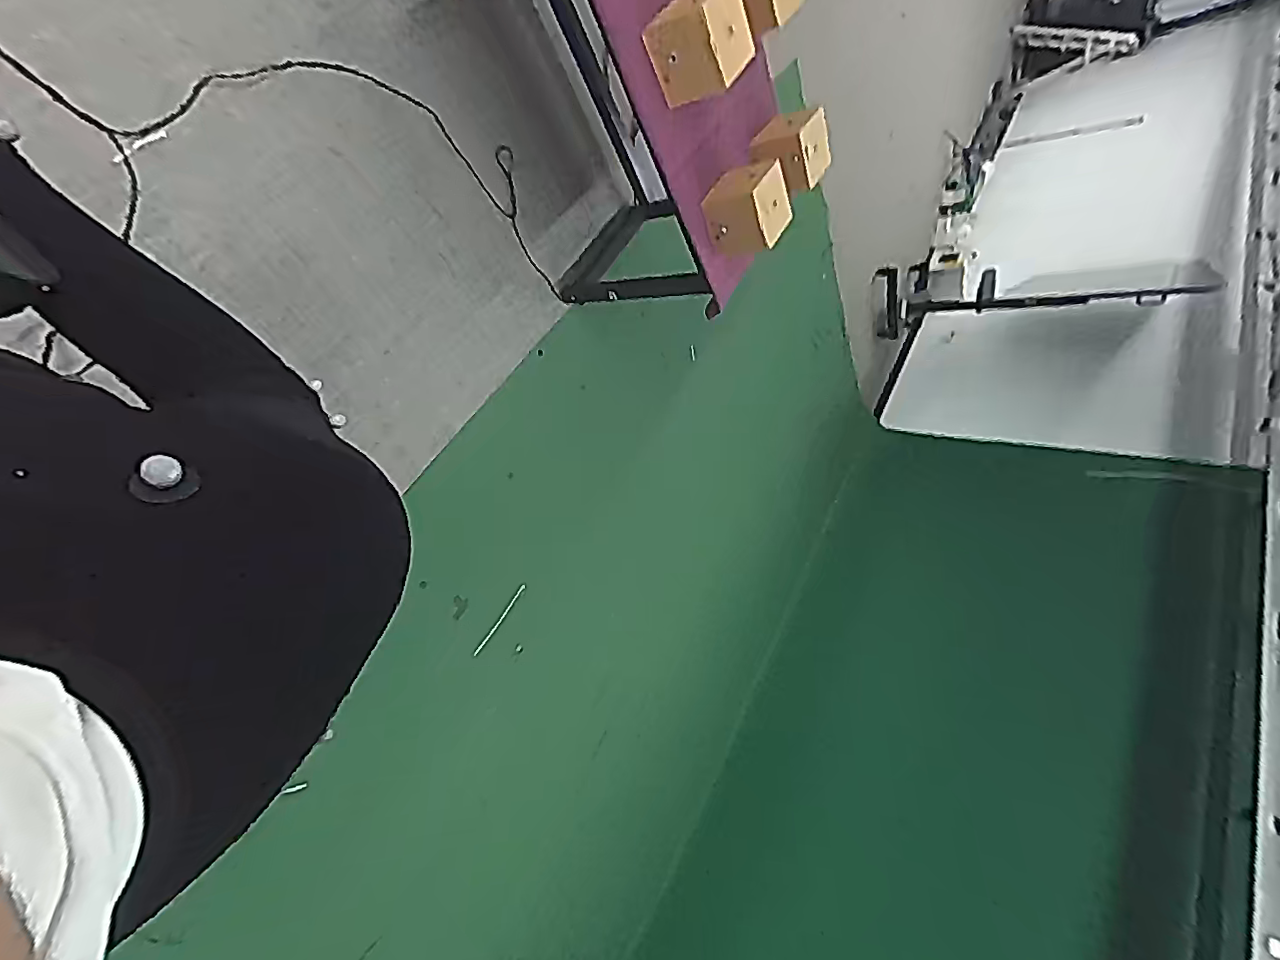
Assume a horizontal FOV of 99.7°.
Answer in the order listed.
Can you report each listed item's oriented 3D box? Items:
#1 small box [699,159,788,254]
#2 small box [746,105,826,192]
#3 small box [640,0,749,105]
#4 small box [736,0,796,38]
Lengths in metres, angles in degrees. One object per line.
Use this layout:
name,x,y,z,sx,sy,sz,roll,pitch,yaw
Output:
small box,0.291,-0.766,1.525,0.179,0.176,0.168,-56,135,-25
small box,0.447,-1.007,1.660,0.179,0.176,0.168,-56,135,-25
small box,0.128,-1.026,1.267,0.179,0.176,0.168,-60,138,-22
small box,0.282,-1.274,1.394,0.179,0.176,0.168,-58,136,-22
